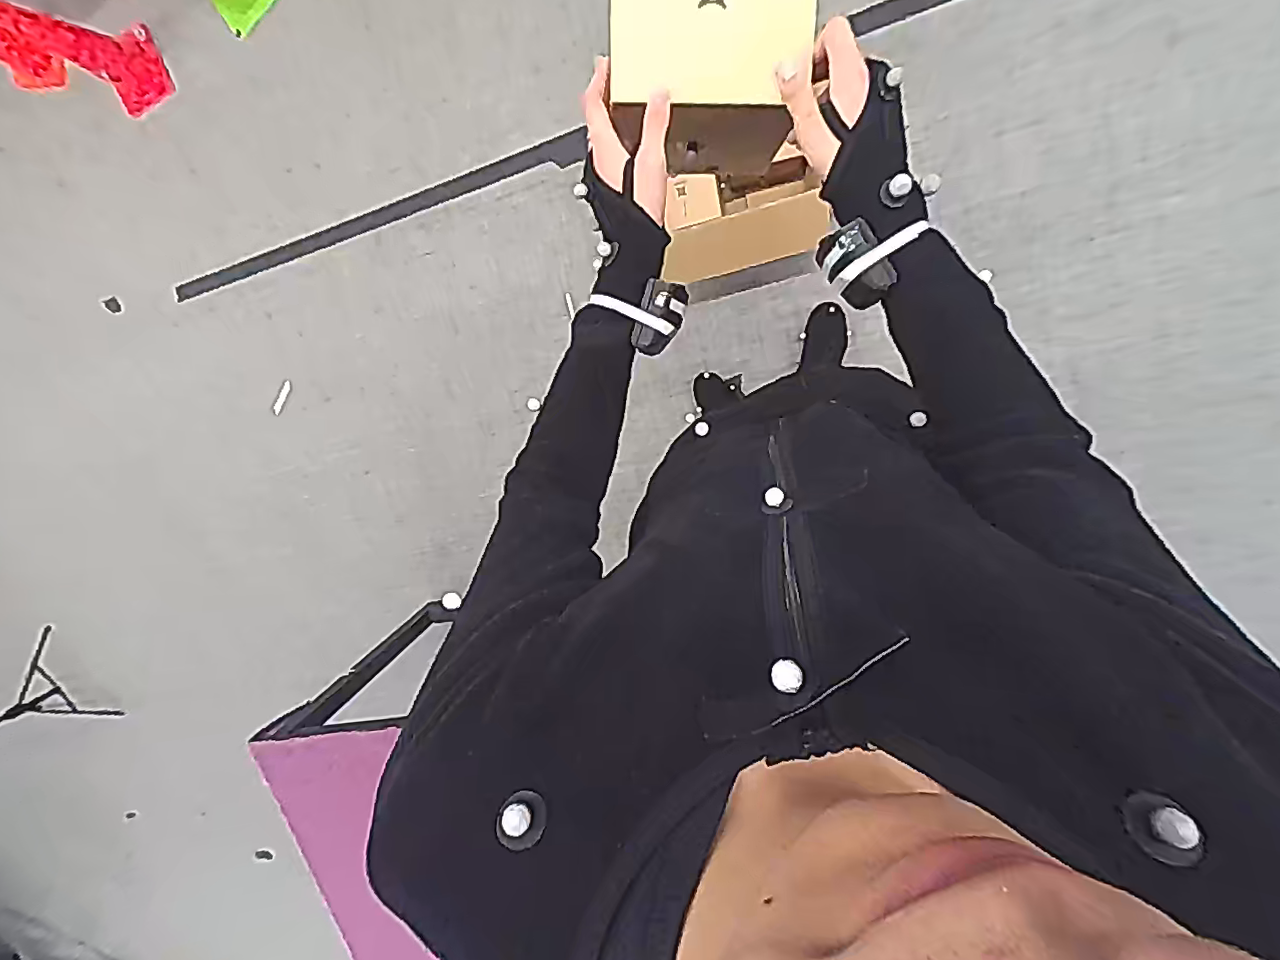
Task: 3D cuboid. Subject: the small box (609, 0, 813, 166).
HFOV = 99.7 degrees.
[{"bbox_3d":[0.058,-0.415,0.507,0.168,0.176,0.179,0,102,-1],"label":"small box"}]
